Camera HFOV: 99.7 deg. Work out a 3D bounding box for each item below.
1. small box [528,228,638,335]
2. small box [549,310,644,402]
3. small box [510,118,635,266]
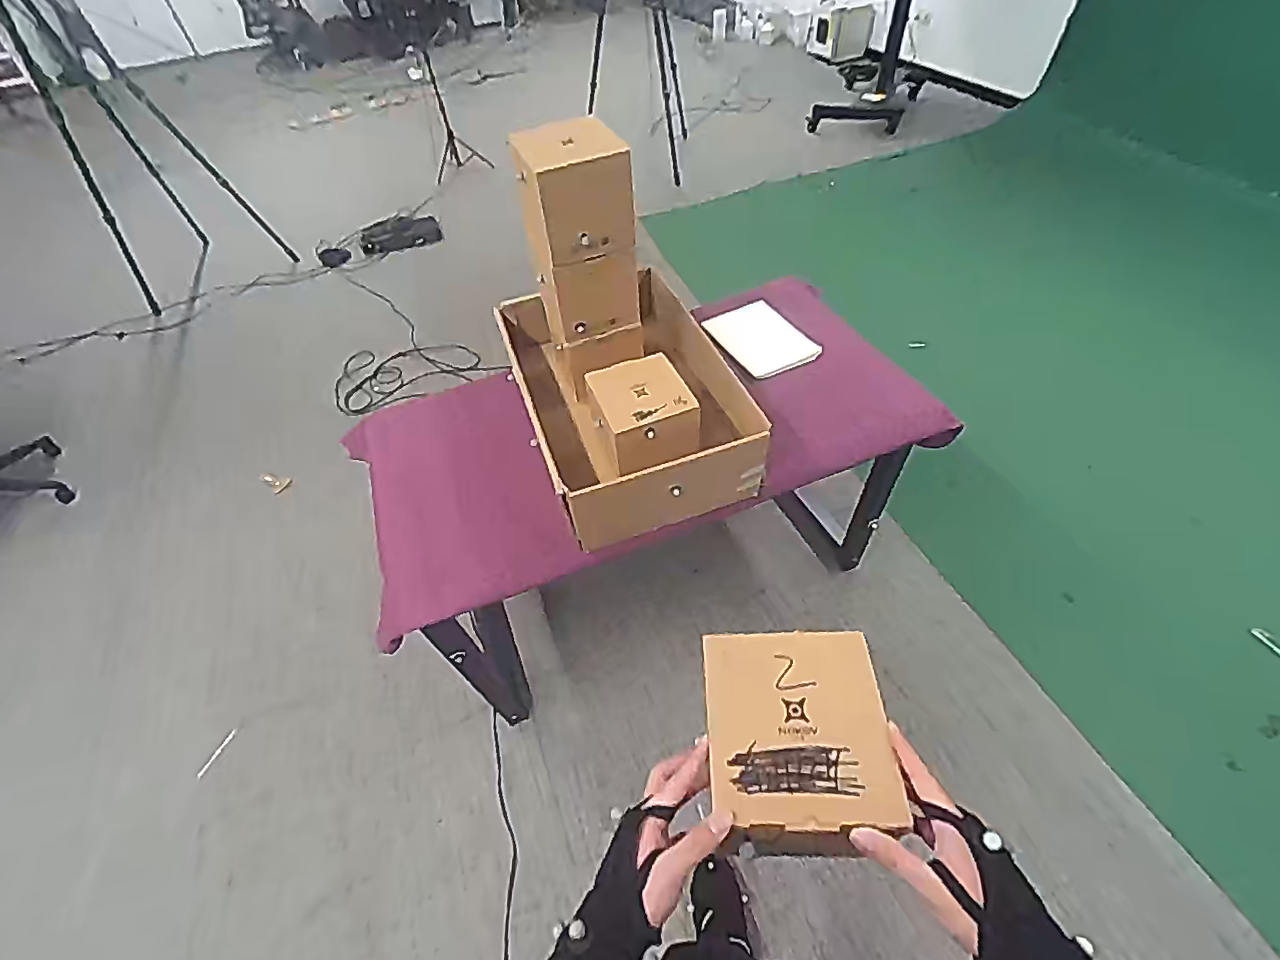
[{"bbox_3d":[-0.110,-0.414,1.098,0.168,0.176,0.179,-20,53,-12],"label":"small box"},{"bbox_3d":[-0.098,-0.308,1.223,0.168,0.176,0.179,-20,54,-11],"label":"small box"},{"bbox_3d":[-0.117,-0.514,0.970,0.168,0.176,0.179,-20,54,-11],"label":"small box"}]
